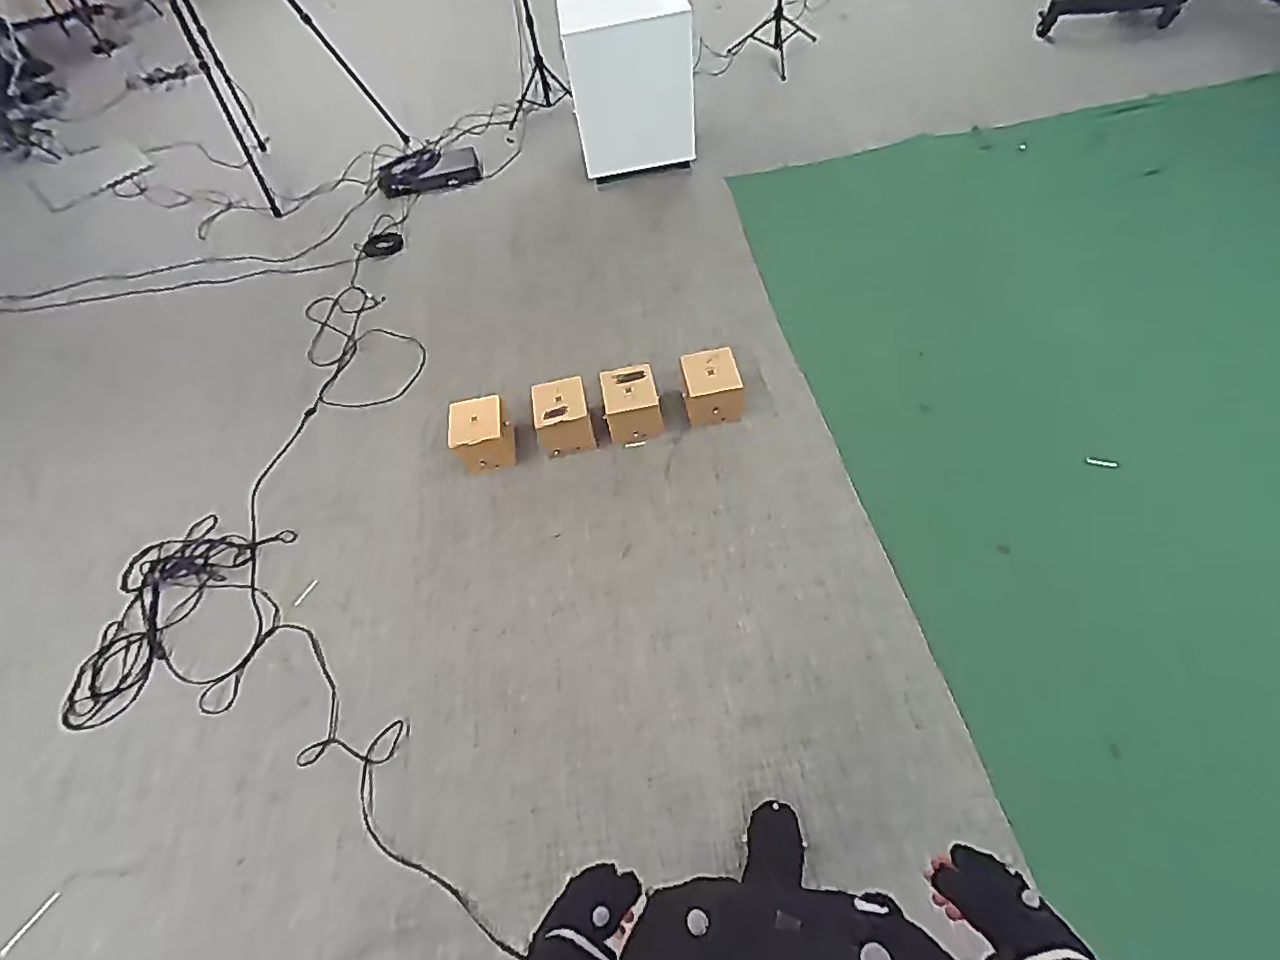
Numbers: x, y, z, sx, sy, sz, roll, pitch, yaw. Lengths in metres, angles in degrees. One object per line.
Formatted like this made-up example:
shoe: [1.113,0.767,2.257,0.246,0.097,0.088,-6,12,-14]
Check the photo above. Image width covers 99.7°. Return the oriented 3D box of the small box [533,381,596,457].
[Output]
small box: [-0.245,-0.192,1.769,0.168,0.176,0.179,-12,56,1]

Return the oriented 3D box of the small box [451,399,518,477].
small box: [-0.505,-0.134,1.770,0.168,0.176,0.179,-12,57,1]

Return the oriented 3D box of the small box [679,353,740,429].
small box: [0.227,-0.282,1.766,0.168,0.176,0.179,-10,57,0]
